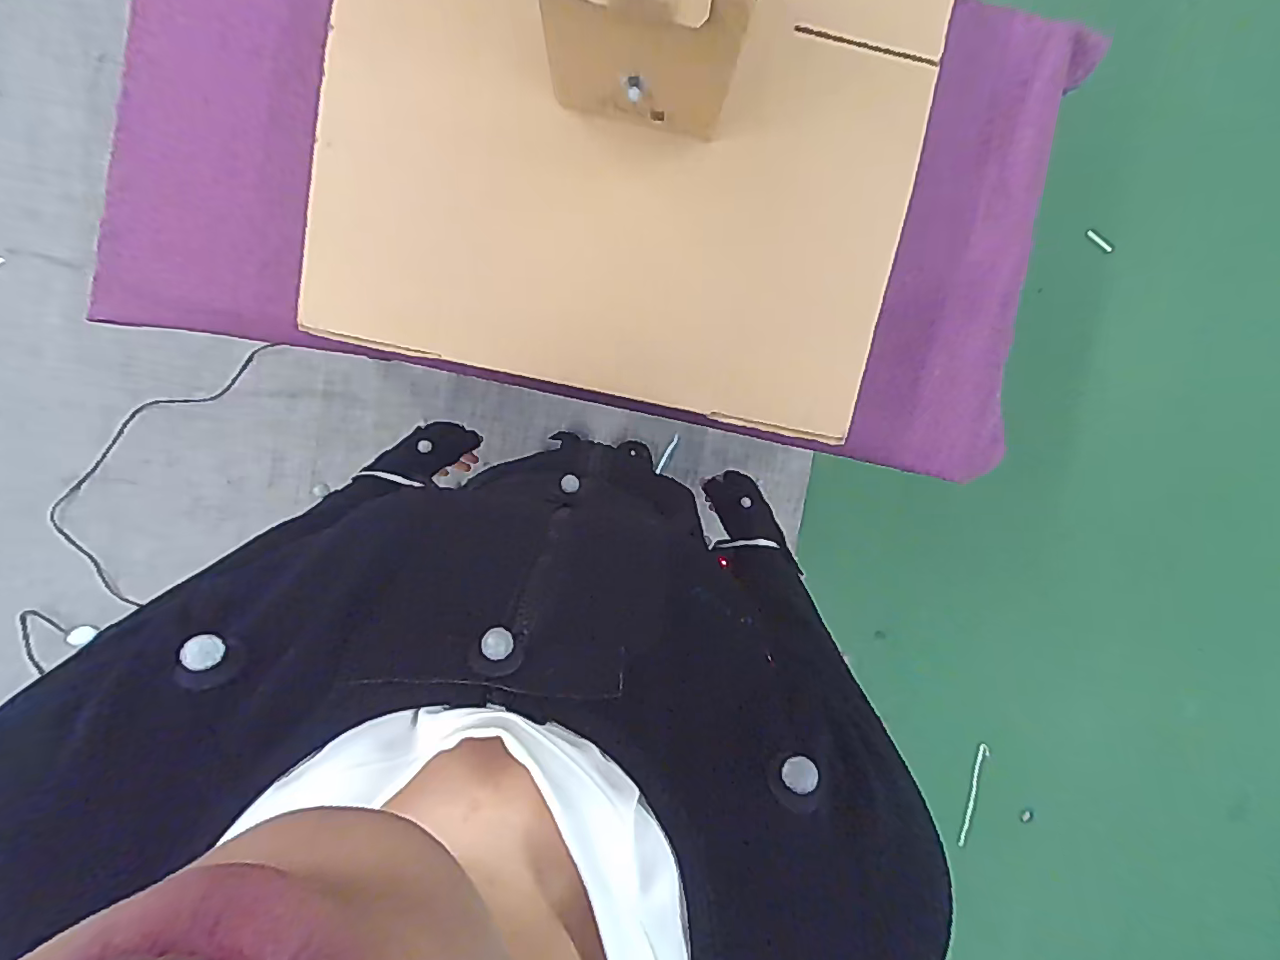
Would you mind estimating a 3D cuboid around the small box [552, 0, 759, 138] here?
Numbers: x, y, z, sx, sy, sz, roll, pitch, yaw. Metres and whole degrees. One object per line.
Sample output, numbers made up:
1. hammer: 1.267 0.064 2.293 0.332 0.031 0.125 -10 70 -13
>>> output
1. small box: 0.019 -0.444 0.463 0.168 0.176 0.179 12 92 -3
